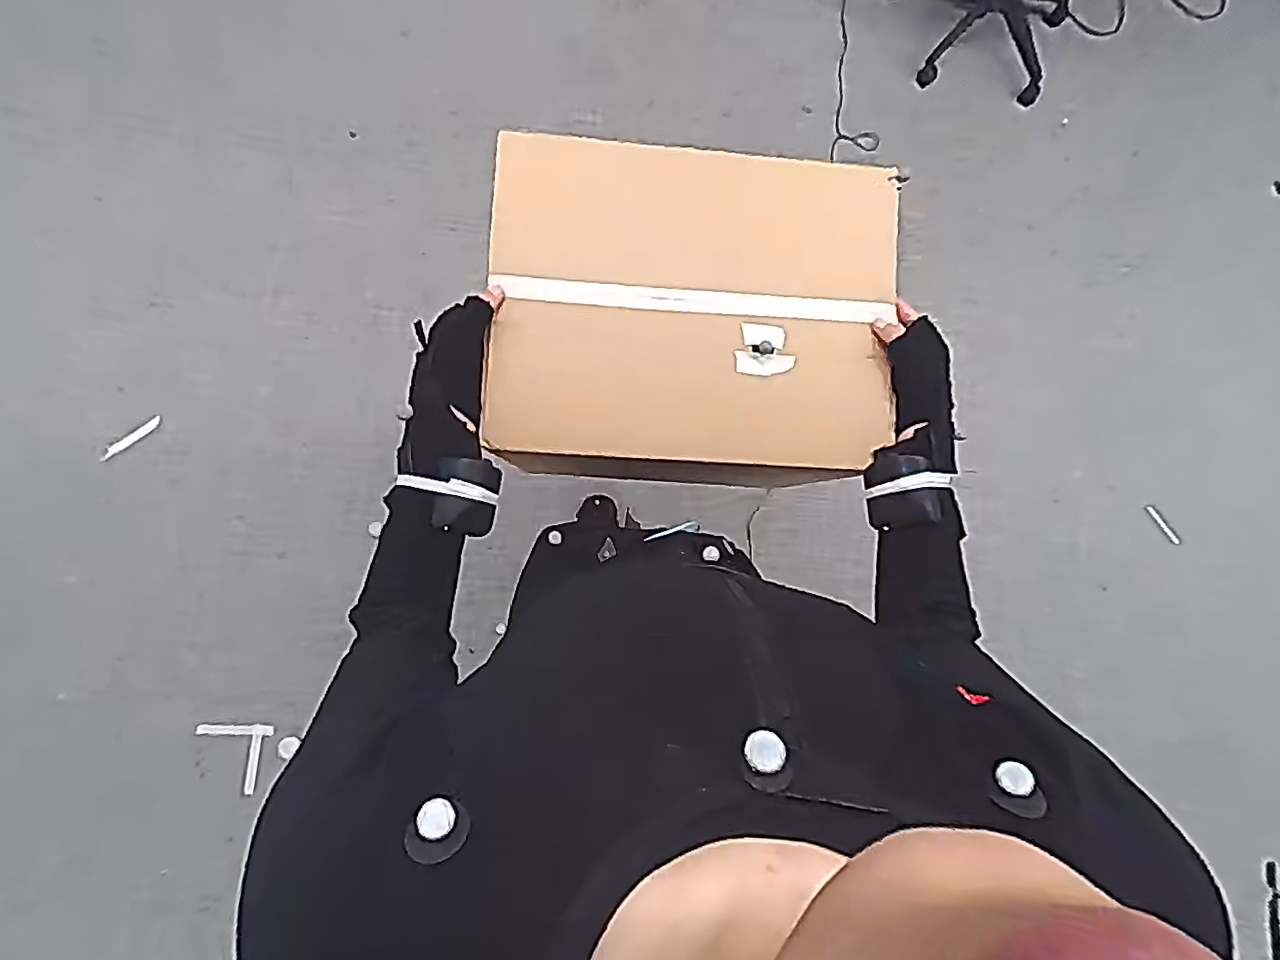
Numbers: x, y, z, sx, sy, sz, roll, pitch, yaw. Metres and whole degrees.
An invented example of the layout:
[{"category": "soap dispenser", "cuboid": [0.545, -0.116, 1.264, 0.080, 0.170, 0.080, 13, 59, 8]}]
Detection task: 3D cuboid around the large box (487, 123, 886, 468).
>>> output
[{"category": "large box", "cuboid": [0.040, -0.186, 0.692, 0.408, 0.320, 0.320, 4, 88, -5]}]
